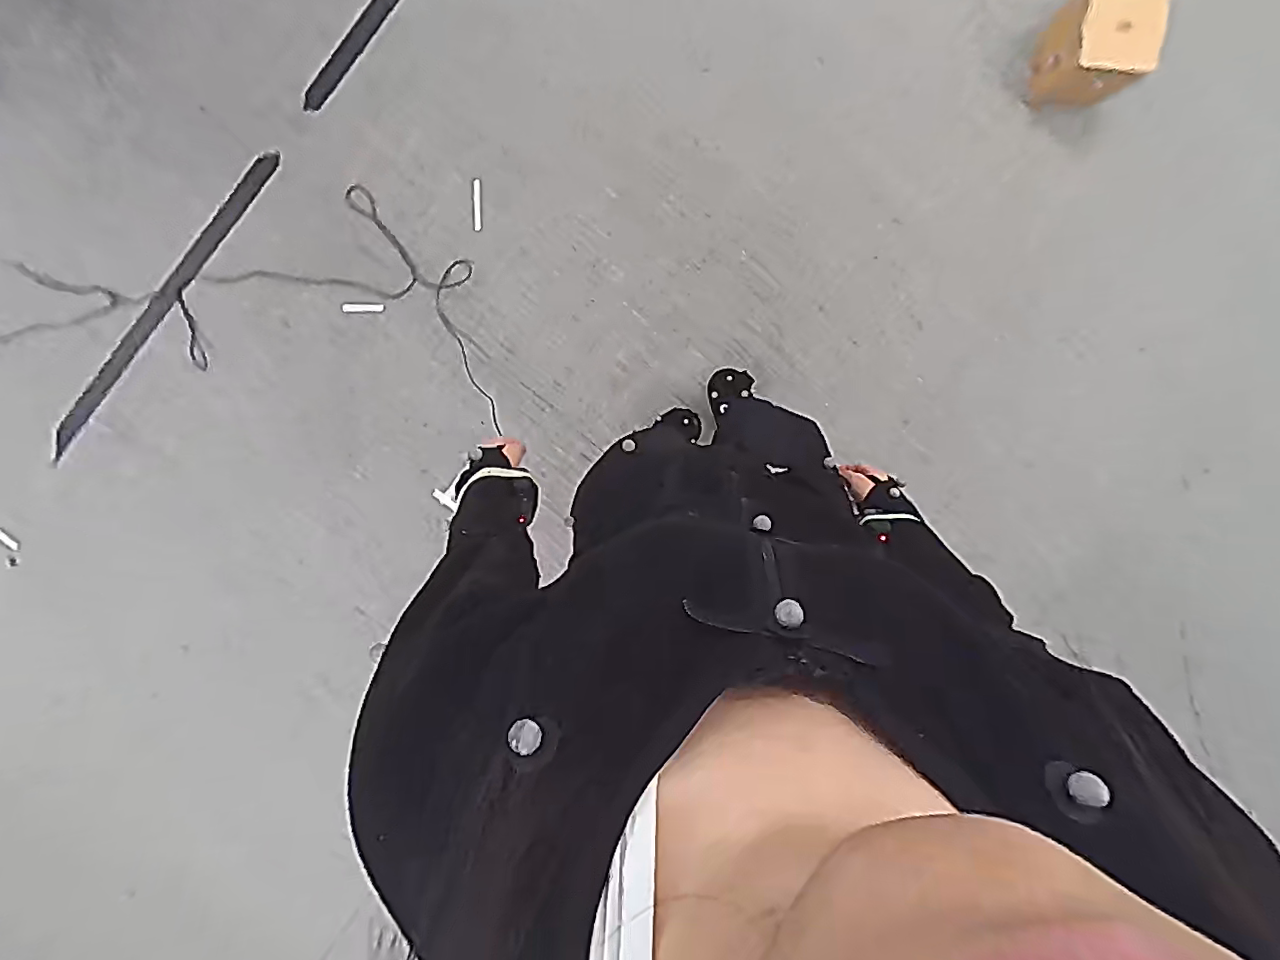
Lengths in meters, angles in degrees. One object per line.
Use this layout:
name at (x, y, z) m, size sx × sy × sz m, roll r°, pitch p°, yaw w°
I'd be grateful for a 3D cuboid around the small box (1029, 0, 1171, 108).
small box at (1.048, -0.991, 1.248) m, size 0.179 × 0.176 × 0.168 m, roll 4°, pitch 101°, yaw -3°
